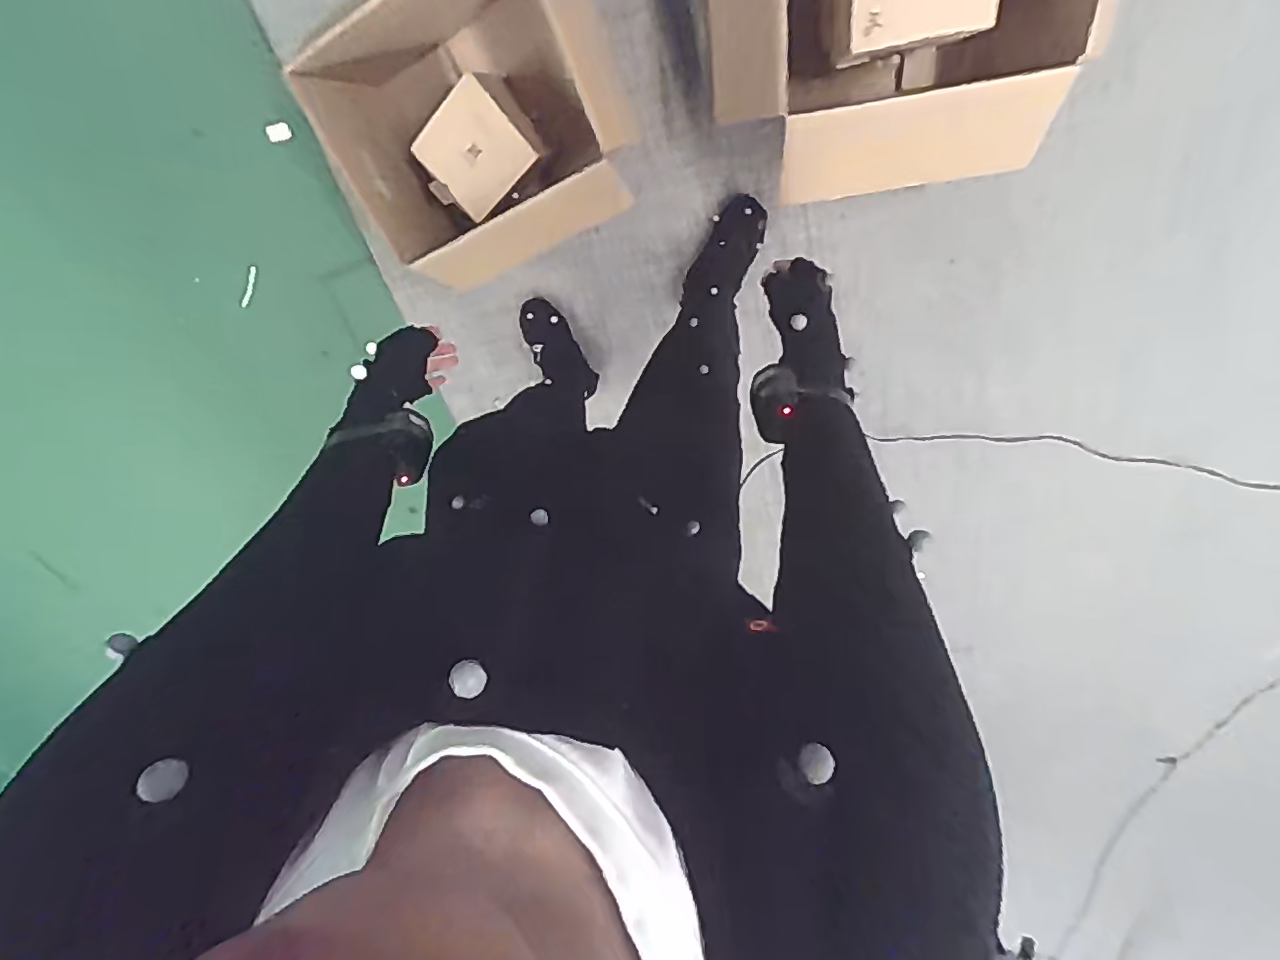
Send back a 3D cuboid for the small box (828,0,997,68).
[{"bbox_3d":[0.364,-0.685,0.735,0.179,0.176,0.168,-5,121,10],"label":"small box"}]
